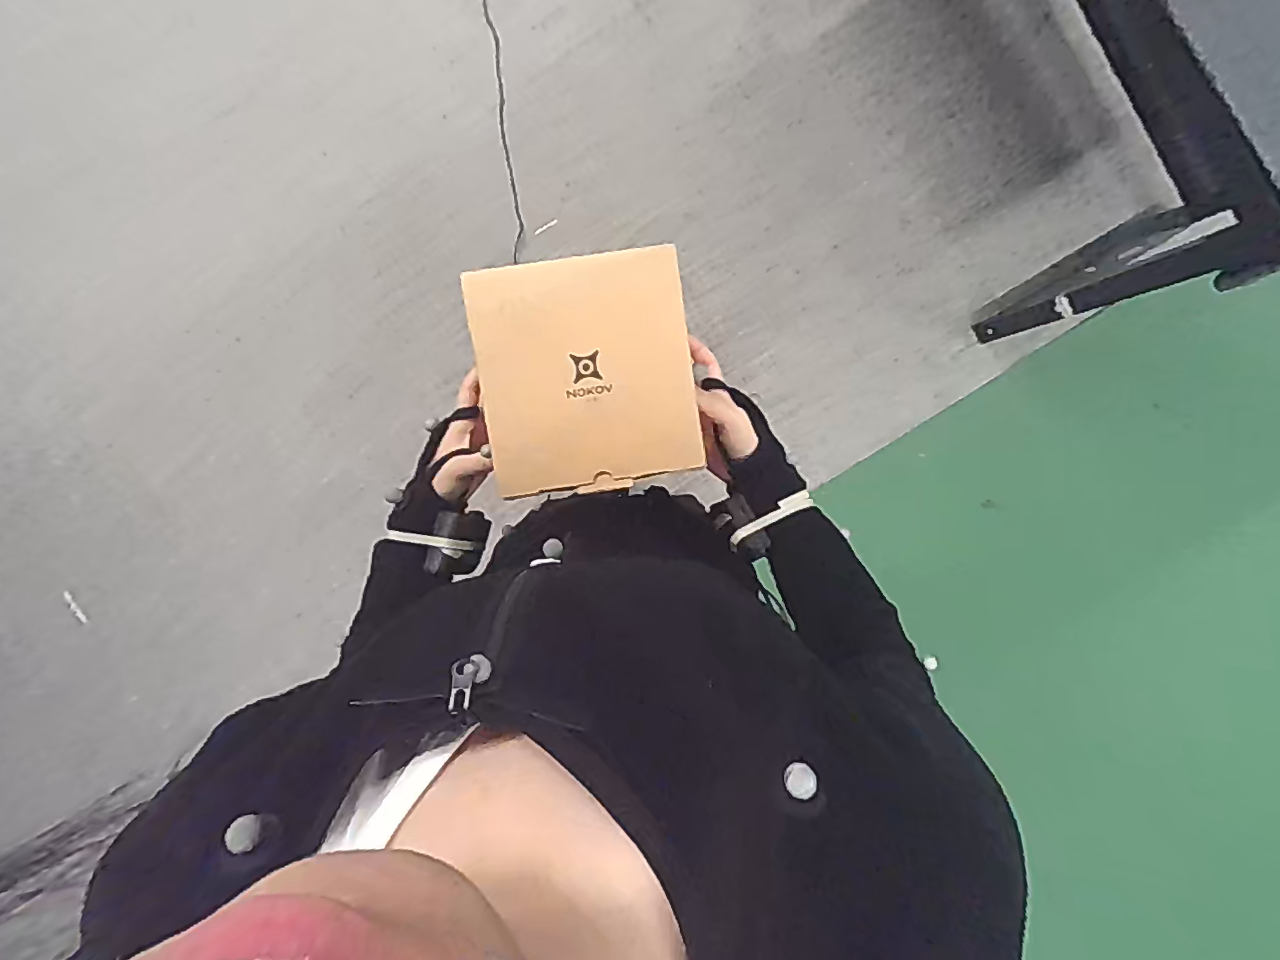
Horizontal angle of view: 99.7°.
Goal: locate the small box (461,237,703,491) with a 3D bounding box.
[{"bbox_3d":[-0.048,-0.095,0.491,0.168,0.176,0.179,-9,97,-3],"label":"small box"}]
